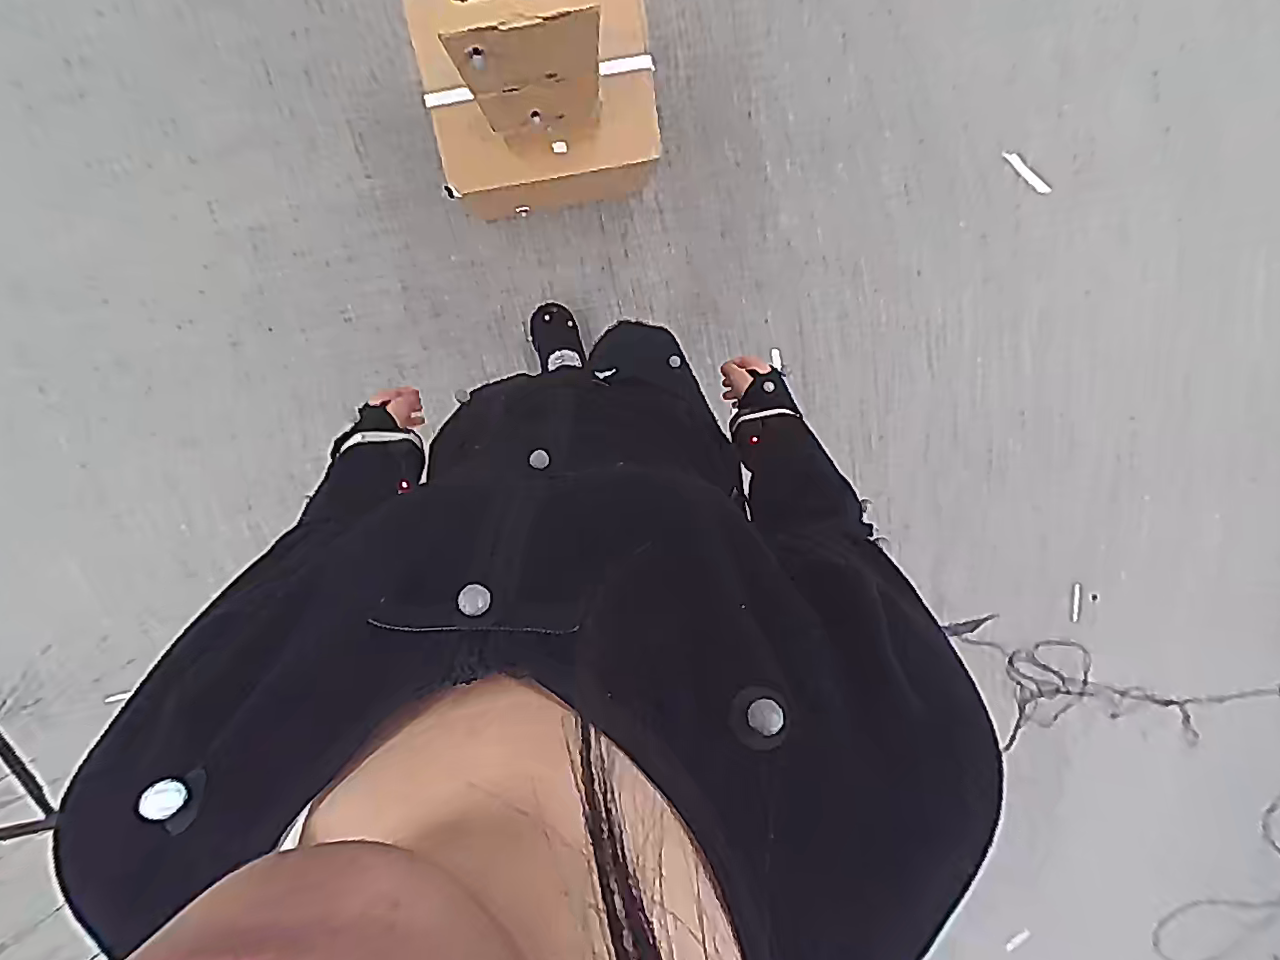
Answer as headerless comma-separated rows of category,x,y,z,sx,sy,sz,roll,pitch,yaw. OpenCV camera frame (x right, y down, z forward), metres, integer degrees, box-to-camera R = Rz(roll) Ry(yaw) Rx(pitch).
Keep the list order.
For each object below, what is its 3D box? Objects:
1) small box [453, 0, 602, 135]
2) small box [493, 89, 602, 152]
small box,-0.153,-0.606,0.739,0.168,0.176,0.179,-13,110,-1
small box,-0.165,-0.664,0.890,0.179,0.176,0.168,-14,109,-2
